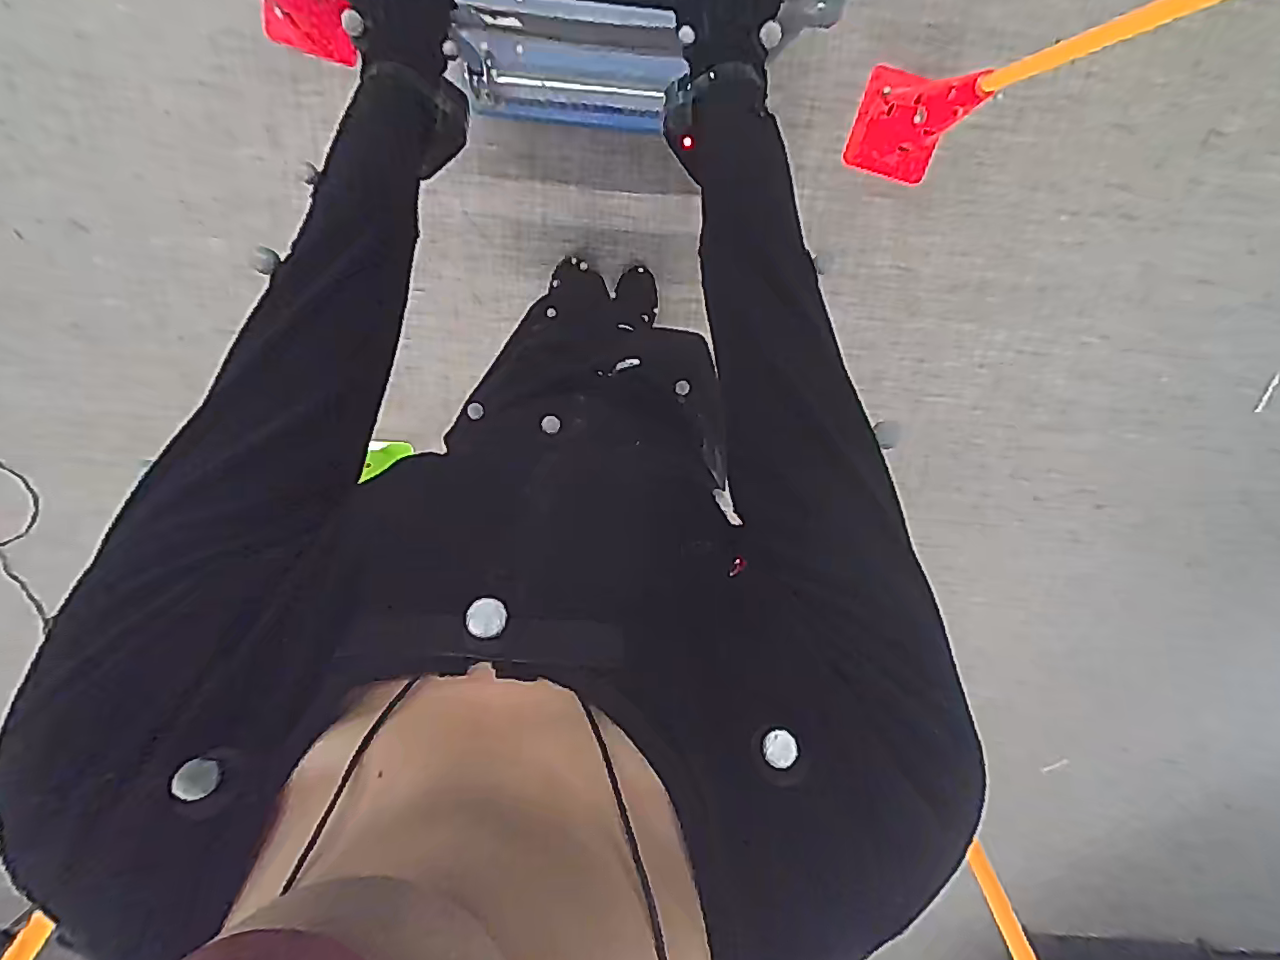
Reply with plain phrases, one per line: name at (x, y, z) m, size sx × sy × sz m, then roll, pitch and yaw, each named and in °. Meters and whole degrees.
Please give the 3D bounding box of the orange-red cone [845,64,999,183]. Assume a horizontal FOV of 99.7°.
orange-red cone at (0.580, -0.729, 1.056) m, size 0.198 × 0.360 × 0.199 m, roll 15°, pitch 113°, yaw -5°
